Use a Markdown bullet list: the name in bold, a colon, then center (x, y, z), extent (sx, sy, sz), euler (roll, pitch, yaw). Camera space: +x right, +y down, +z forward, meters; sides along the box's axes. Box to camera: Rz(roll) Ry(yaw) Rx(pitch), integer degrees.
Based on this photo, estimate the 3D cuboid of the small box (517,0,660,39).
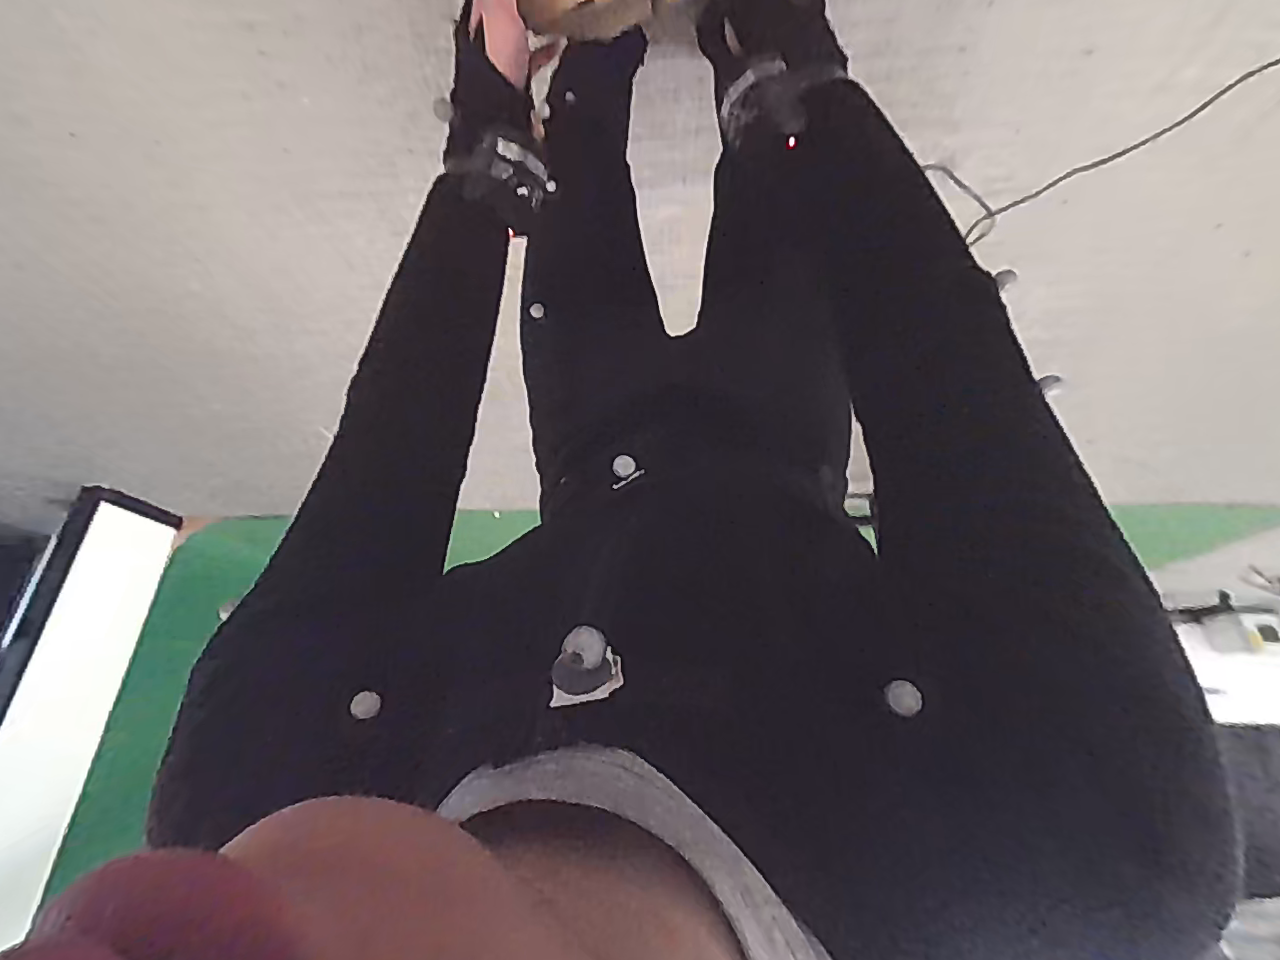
- **small box**: center (-0.018, -0.477, 0.409), extent (0.168, 0.176, 0.179), euler (-5, 125, 28)
